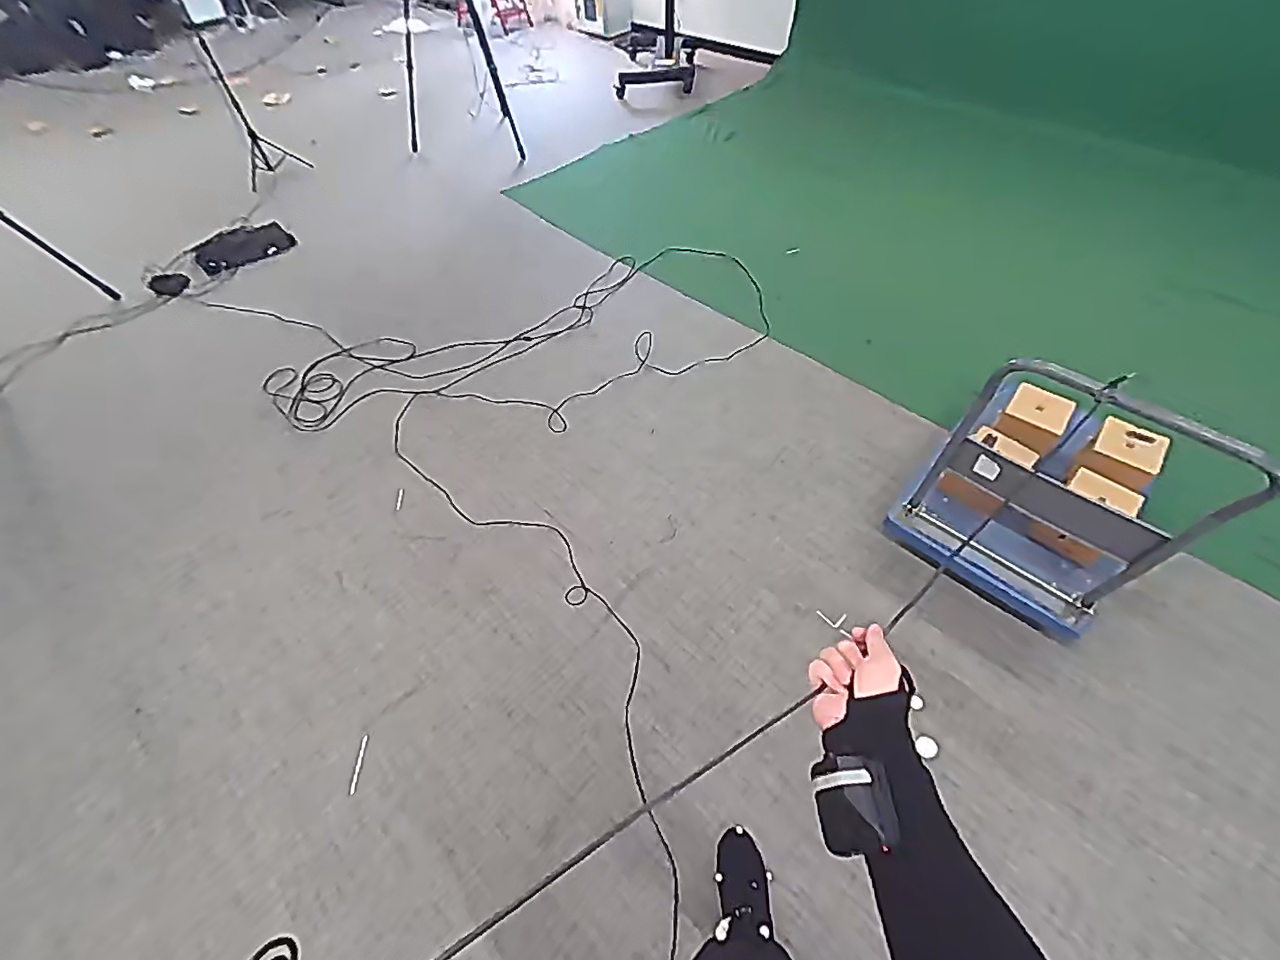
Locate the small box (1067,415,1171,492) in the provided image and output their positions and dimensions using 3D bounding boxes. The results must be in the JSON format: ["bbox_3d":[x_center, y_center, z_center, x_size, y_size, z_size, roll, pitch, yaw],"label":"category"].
[{"bbox_3d":[1.460,-0.060,1.658,0.168,0.176,0.179,32,62,25],"label":"small box"}]

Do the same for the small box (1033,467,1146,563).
[{"bbox_3d":[1.276,0.102,1.545,0.168,0.176,0.179,37,63,26],"label":"small box"}]

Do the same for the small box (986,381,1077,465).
[{"bbox_3d":[1.265,-0.181,1.760,0.168,0.176,0.179,33,61,24],"label":"small box"}]
